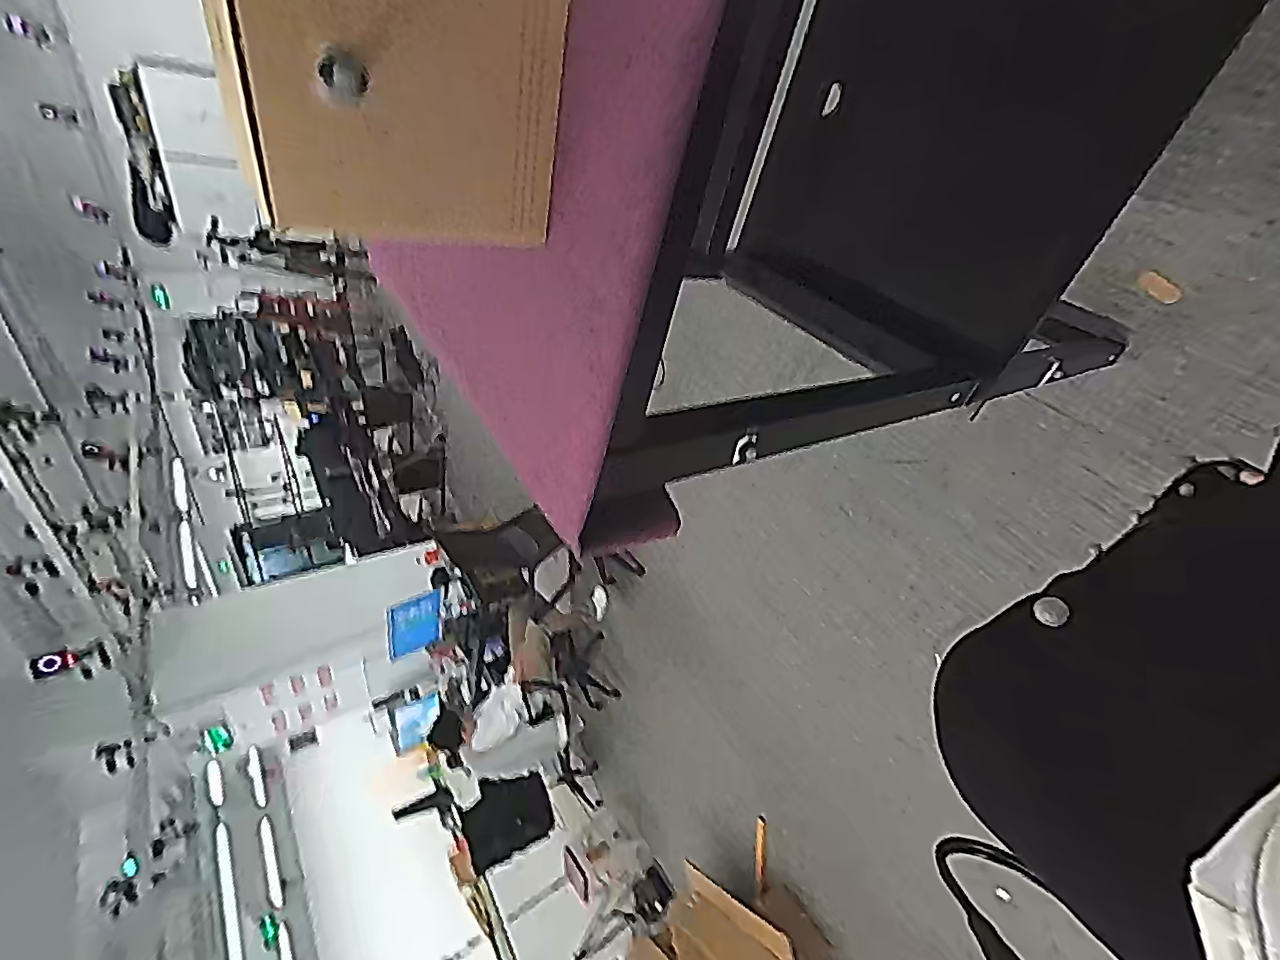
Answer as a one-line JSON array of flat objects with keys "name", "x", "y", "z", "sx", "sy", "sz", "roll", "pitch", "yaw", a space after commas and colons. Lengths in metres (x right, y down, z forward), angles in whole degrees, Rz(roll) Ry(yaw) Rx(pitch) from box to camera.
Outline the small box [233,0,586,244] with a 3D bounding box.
[{"name": "small box", "x": -0.150, "y": -0.266, "z": 0.352, "sx": 0.168, "sy": 0.176, "sz": 0.179, "roll": 45, "pitch": 136, "yaw": 37}]
